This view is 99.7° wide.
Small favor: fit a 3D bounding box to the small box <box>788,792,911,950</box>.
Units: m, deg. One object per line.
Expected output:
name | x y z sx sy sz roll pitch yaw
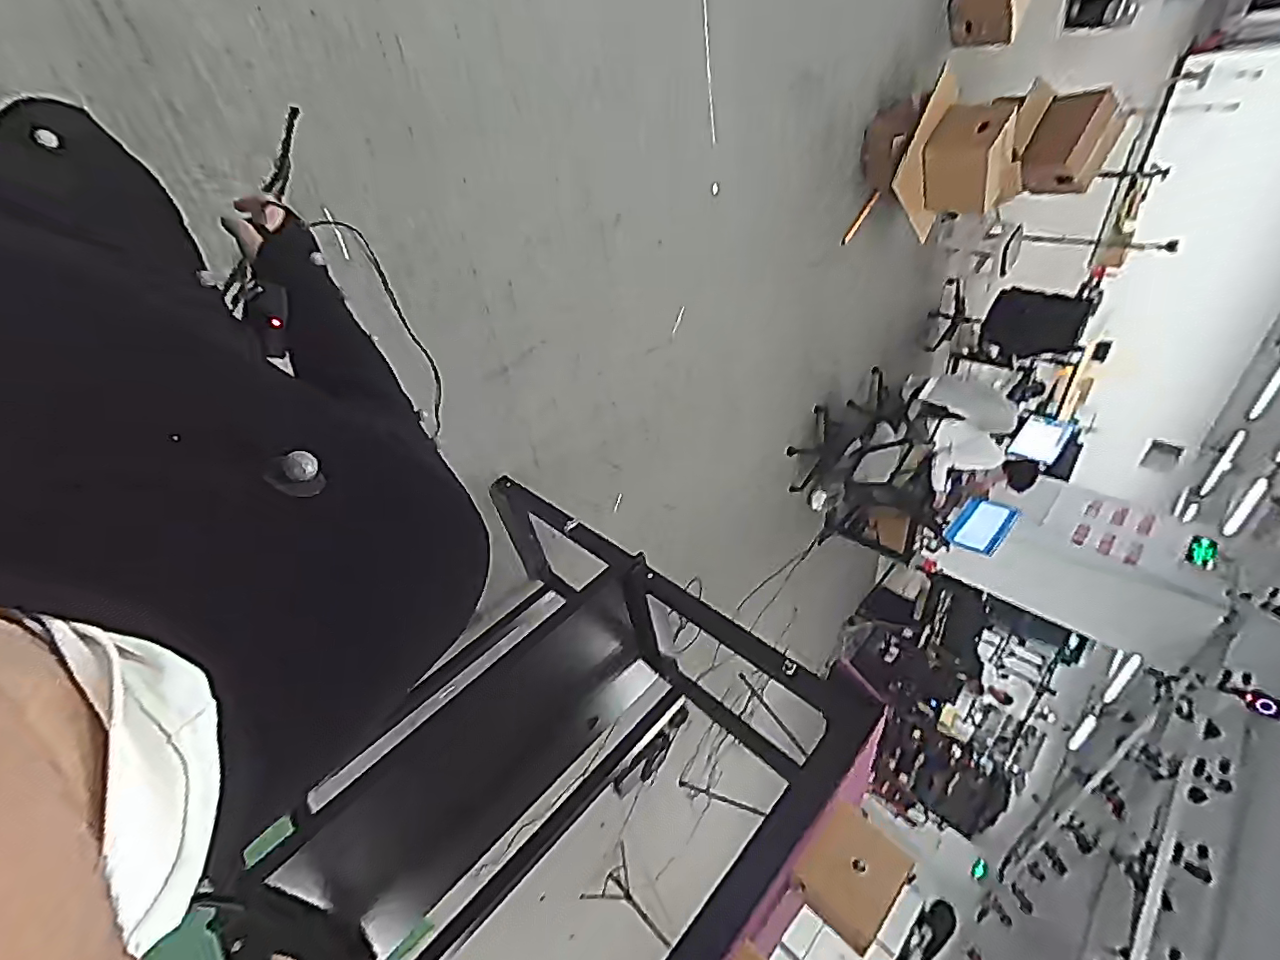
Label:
small box | 0.415 0.783 1.092 0.179 0.176 0.168 -40 138 -27
